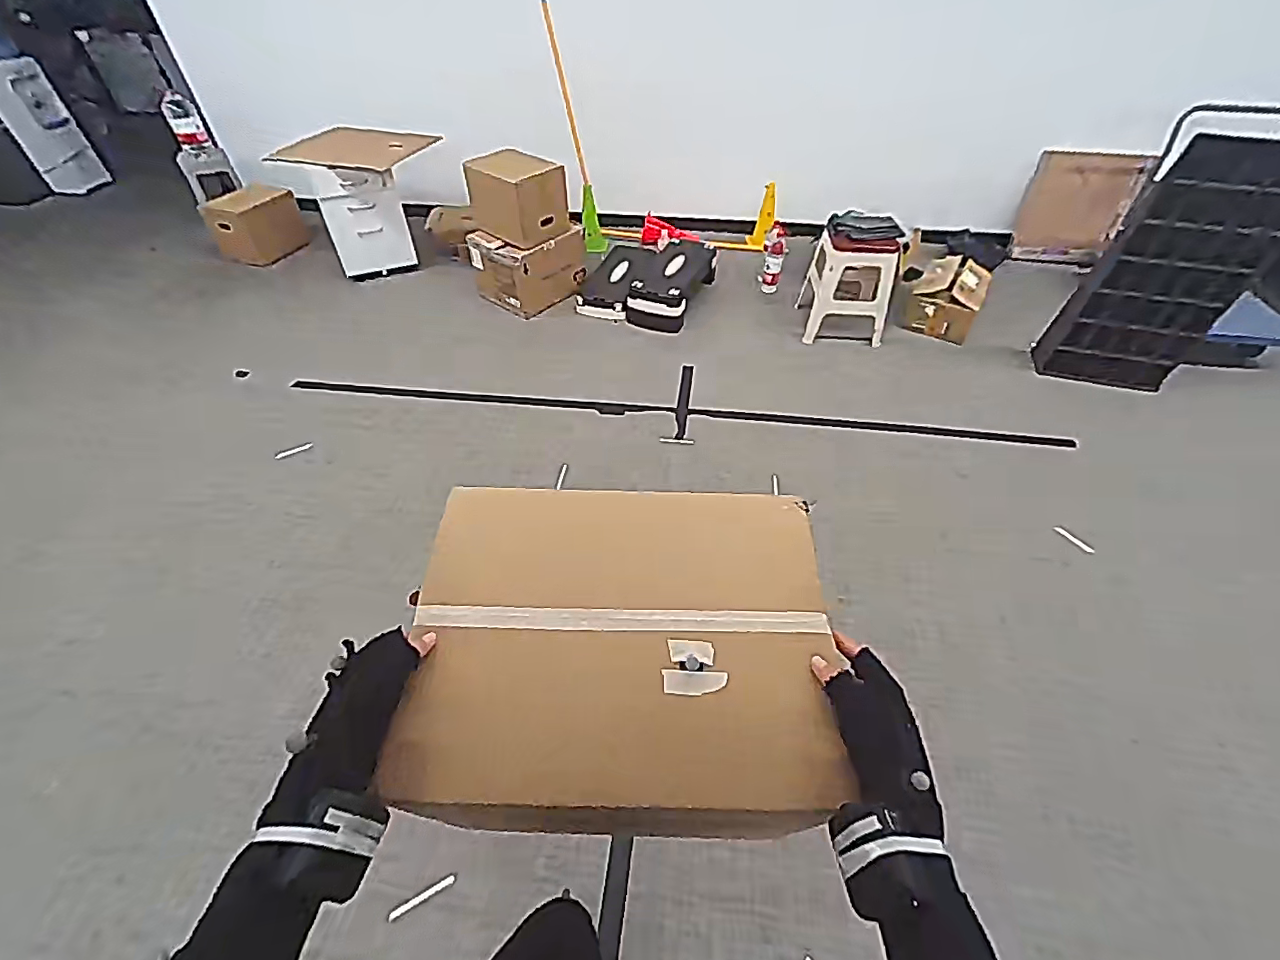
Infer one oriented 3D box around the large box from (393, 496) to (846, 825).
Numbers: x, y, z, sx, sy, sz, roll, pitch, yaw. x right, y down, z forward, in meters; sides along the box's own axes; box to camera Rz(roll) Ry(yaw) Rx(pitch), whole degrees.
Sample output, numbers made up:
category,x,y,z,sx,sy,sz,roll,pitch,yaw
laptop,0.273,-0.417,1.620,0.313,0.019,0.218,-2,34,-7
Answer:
category,x,y,z,sx,sy,sz,roll,pitch,yaw
large box,-0.021,0.234,0.673,0.408,0.320,0.320,2,54,-1
